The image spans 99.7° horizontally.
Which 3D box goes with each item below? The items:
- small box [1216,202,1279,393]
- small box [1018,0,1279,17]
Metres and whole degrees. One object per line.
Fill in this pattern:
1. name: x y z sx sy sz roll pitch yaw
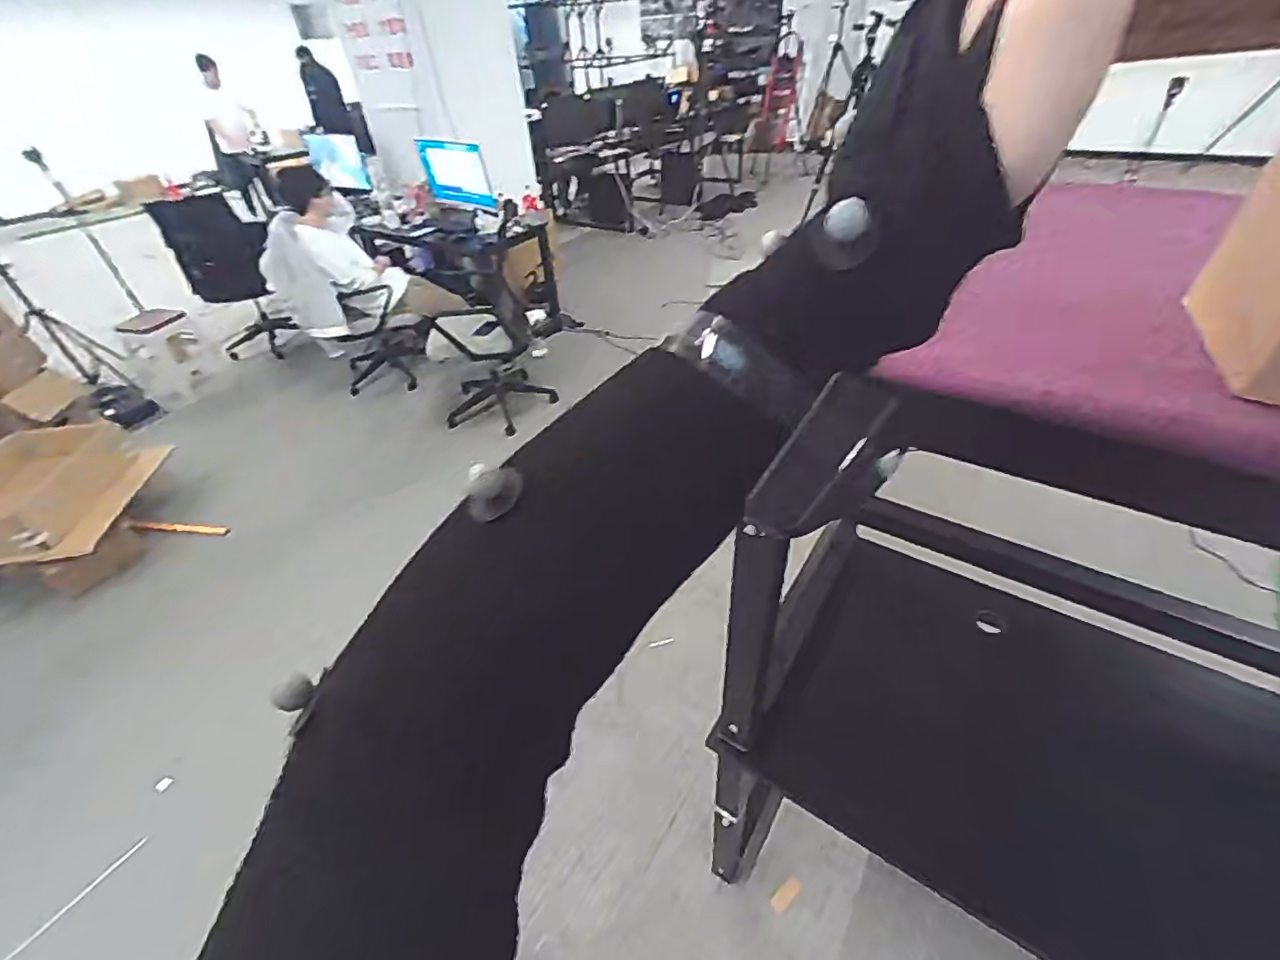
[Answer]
1. small box: 0.464 -0.124 0.279 0.168 0.176 0.179 20 44 24
2. small box: 0.221 -0.277 0.153 0.168 0.176 0.179 8 78 15
